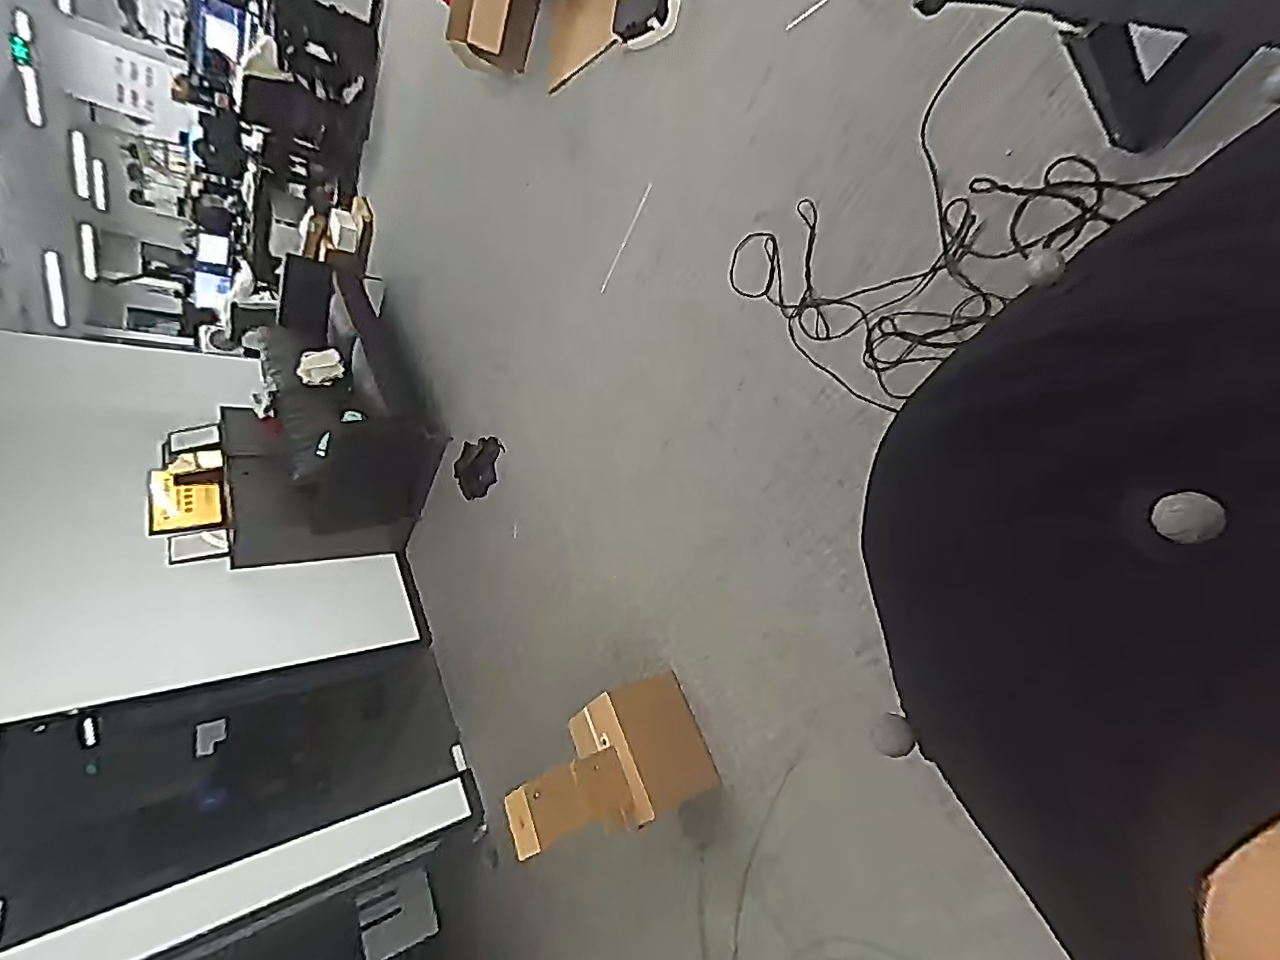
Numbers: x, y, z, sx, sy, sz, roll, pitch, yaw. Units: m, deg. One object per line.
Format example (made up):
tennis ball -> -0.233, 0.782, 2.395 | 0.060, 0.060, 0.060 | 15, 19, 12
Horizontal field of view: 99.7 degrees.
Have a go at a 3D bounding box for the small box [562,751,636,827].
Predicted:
small box -> -0.144, 0.989, 1.724 | 0.168, 0.176, 0.179 | -50, 55, 38

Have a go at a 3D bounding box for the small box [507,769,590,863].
small box -> -0.272, 1.005, 1.624 | 0.168, 0.176, 0.179 | -51, 54, 38

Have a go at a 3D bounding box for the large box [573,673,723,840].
large box -> 0.020, 0.959, 1.905 | 0.320, 0.320, 0.408 | -50, 54, 36
